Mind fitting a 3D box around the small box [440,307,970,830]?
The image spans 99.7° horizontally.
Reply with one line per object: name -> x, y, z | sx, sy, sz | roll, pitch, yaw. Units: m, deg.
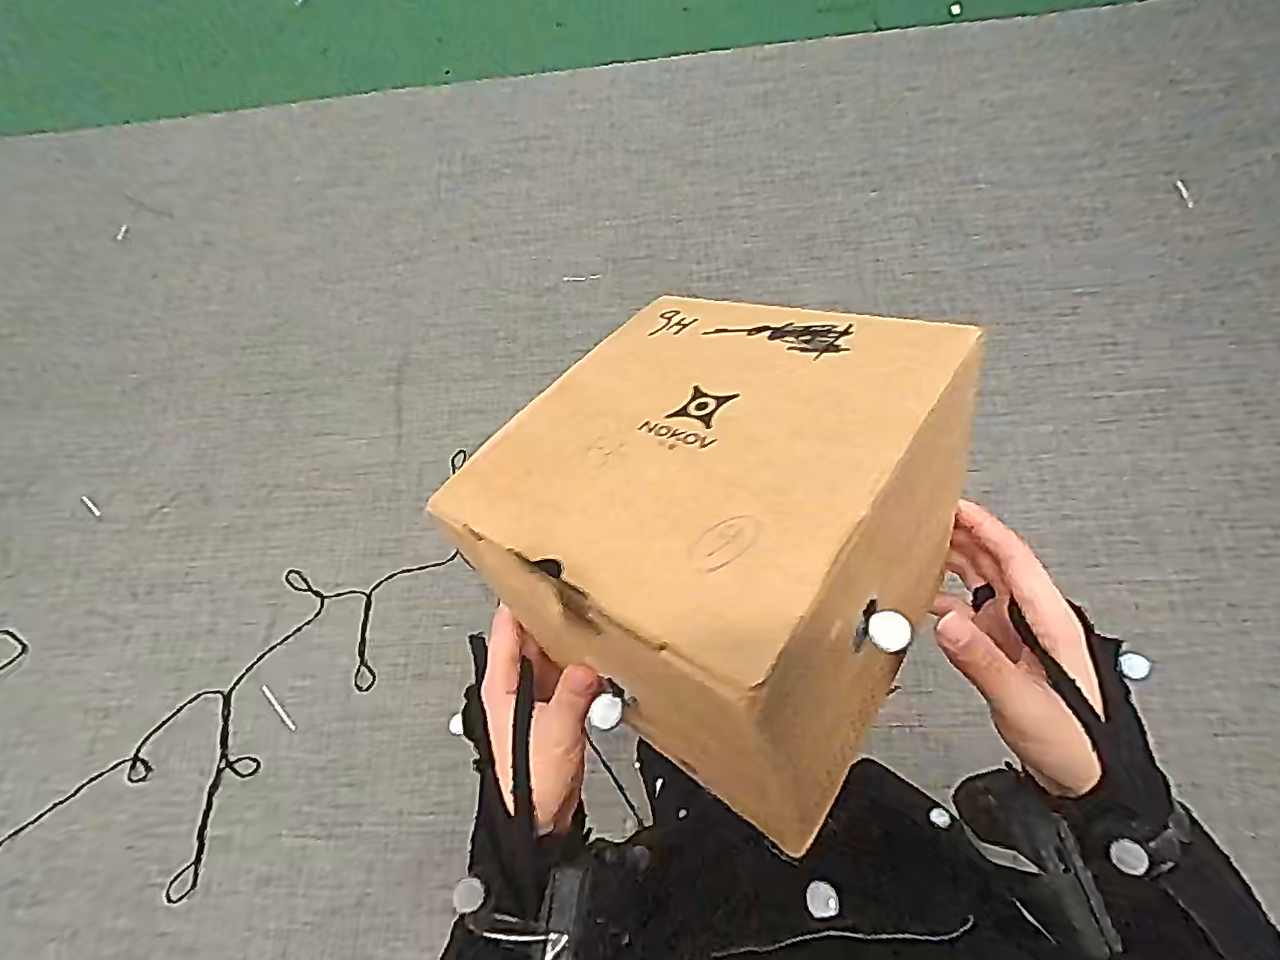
small box -> 0.044, 0.037, 0.280 | 0.168, 0.176, 0.179 | 21, 58, 37
